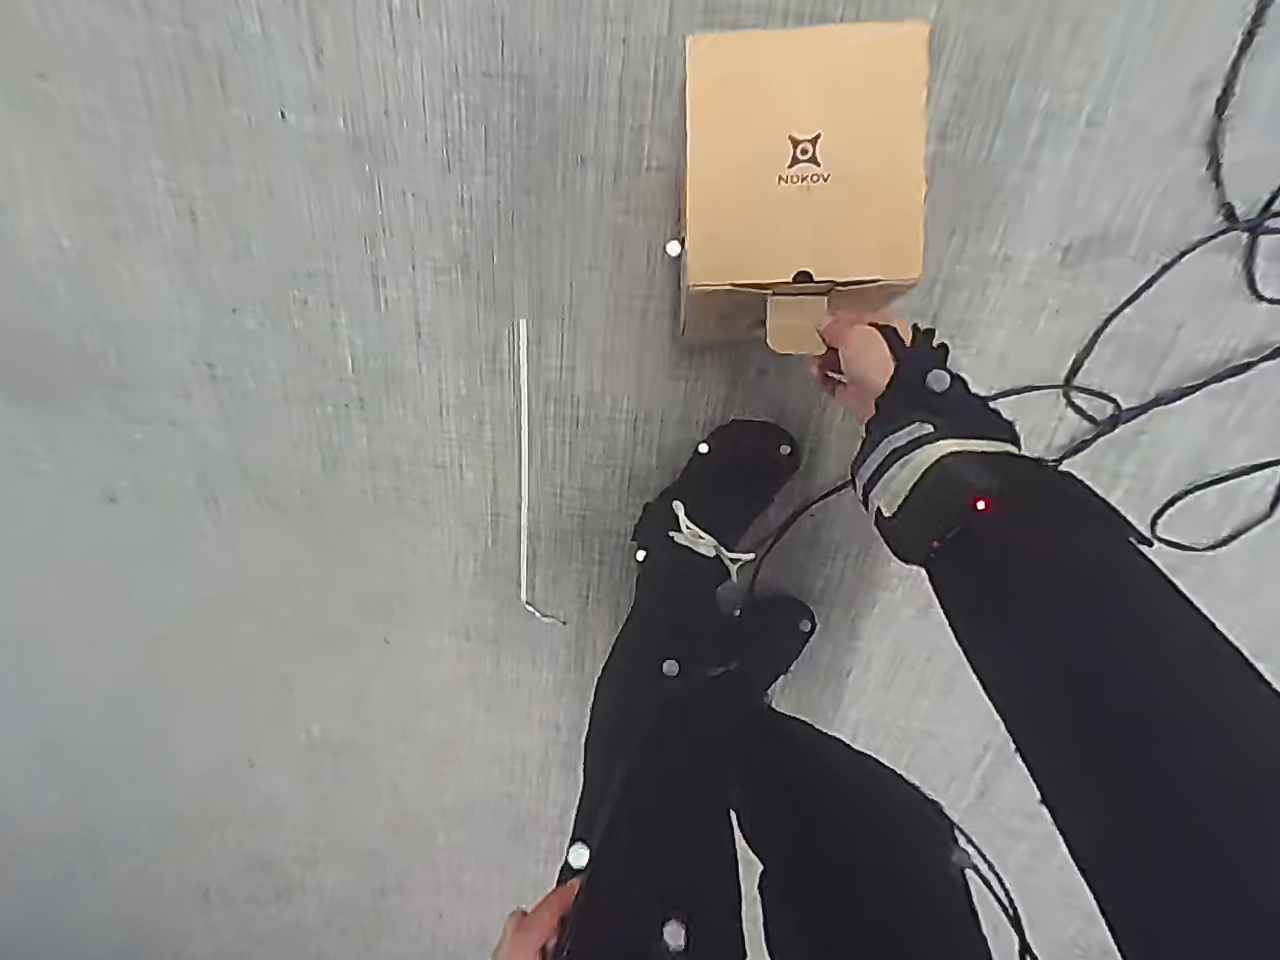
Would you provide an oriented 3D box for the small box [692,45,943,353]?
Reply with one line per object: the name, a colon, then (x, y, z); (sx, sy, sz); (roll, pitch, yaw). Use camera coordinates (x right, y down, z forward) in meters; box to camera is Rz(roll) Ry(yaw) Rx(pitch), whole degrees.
small box: (0.131, -0.217, 0.461); (0.168, 0.176, 0.179); (-1, 89, 3)
